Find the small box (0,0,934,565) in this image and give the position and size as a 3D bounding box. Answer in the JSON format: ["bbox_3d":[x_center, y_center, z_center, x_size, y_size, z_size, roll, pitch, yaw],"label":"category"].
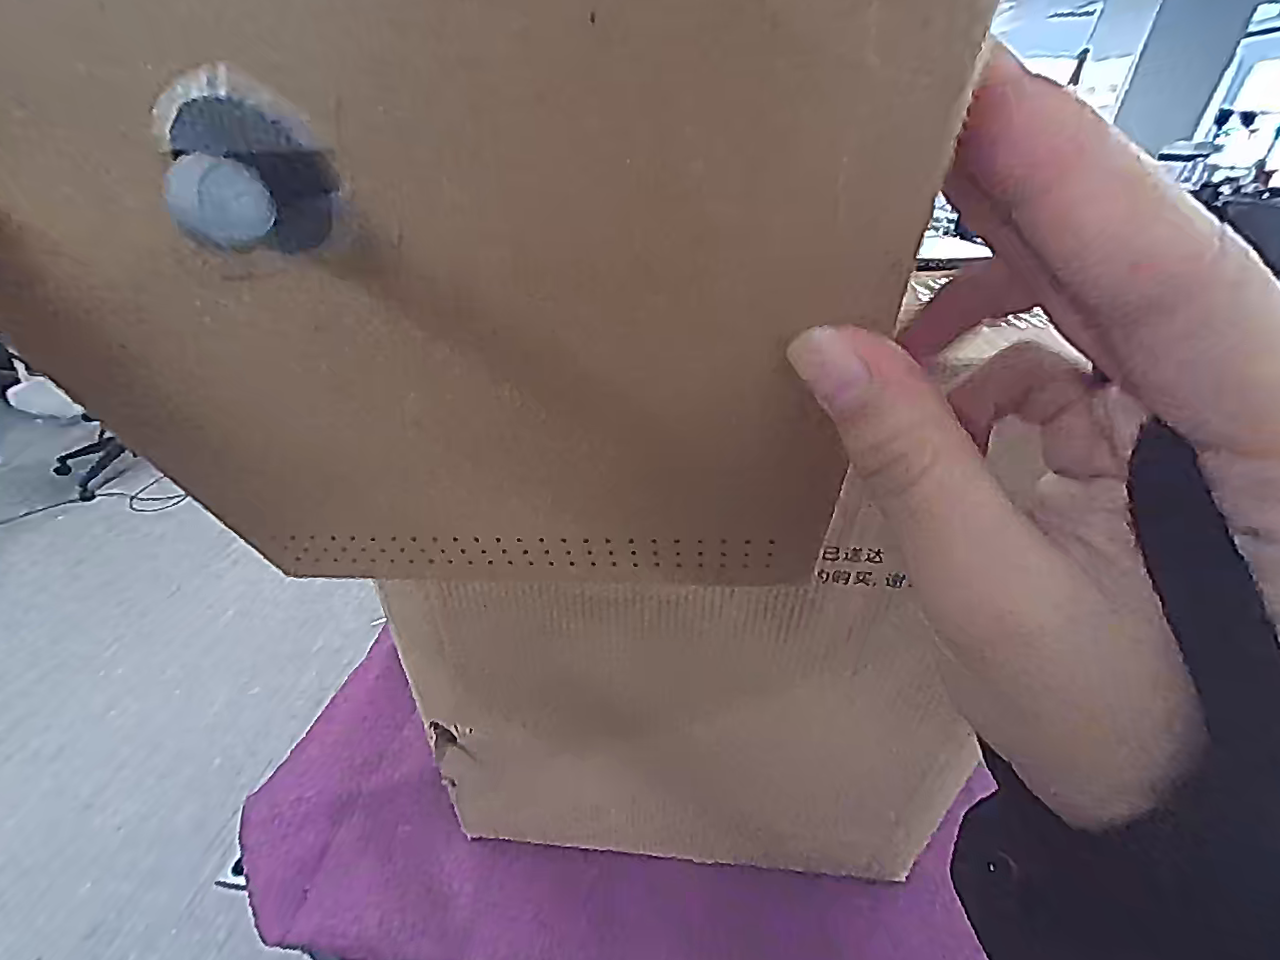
[{"bbox_3d":[-0.034,-0.086,0.161,0.179,0.176,0.168,0,51,6],"label":"small box"}]
